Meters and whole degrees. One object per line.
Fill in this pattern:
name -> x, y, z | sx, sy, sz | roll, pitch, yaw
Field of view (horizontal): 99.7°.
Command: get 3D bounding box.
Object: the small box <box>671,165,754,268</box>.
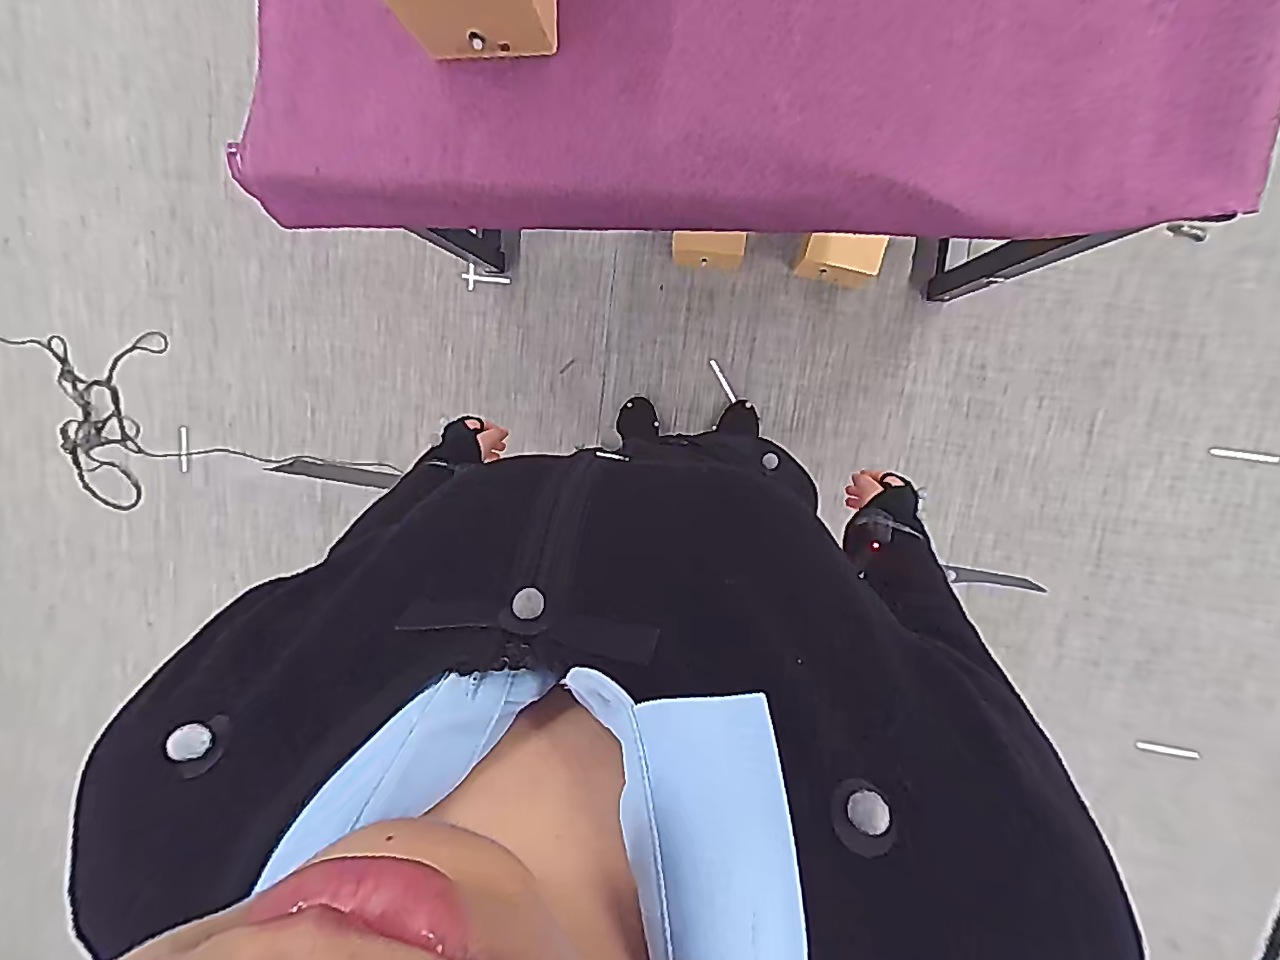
small box -> 0.171, -0.621, 1.294 | 0.168, 0.176, 0.179 | 9, 100, 4

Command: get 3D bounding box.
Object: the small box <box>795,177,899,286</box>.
small box -> 0.475, -0.573, 1.270 | 0.168, 0.176, 0.179 | 16, 100, 4
